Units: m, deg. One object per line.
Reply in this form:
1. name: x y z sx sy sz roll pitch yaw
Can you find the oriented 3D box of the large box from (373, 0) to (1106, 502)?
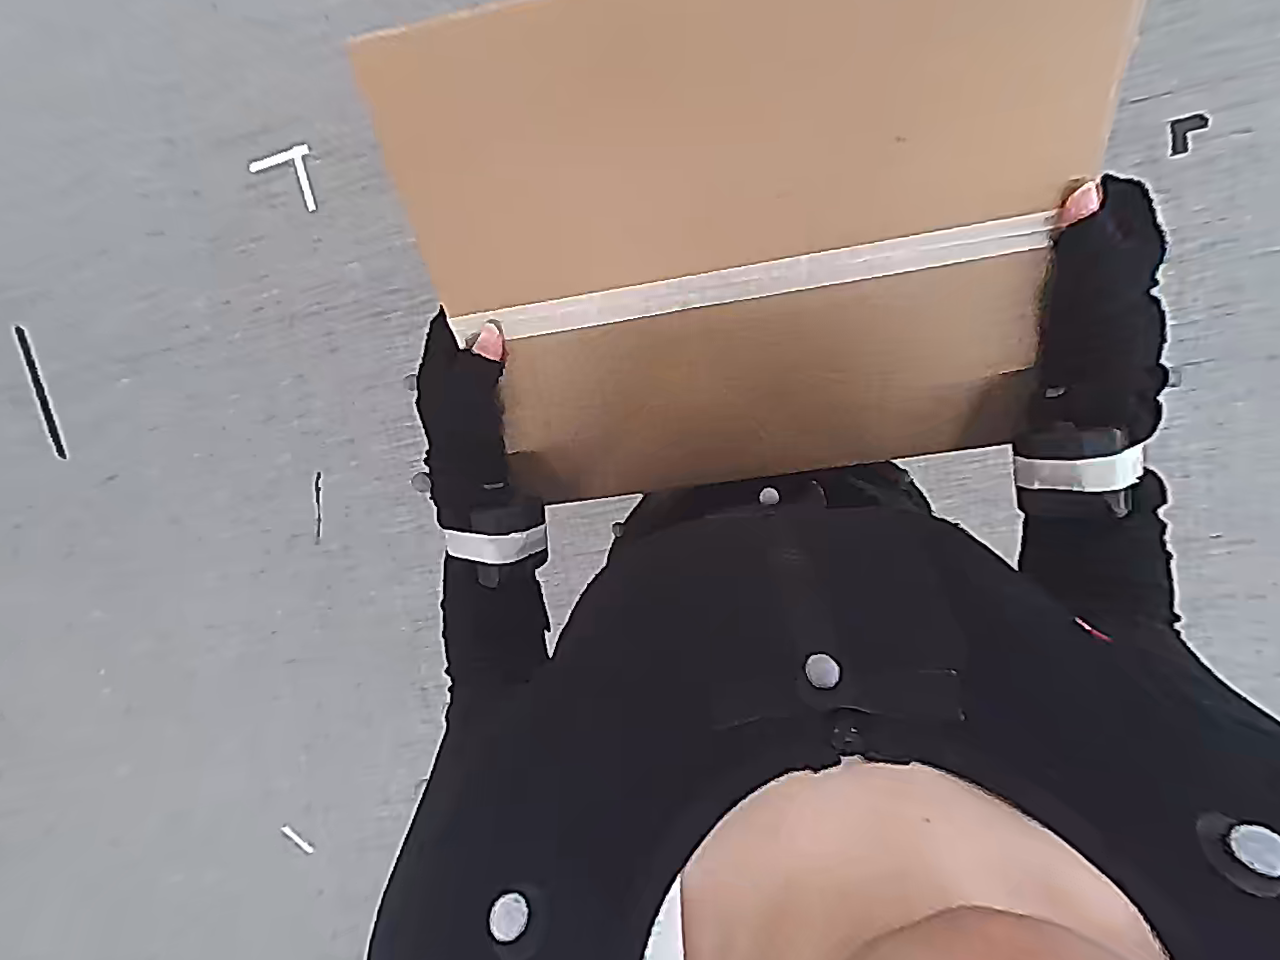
1. large box: 0.070 -0.218 0.488 0.408 0.320 0.320 -8 124 6
